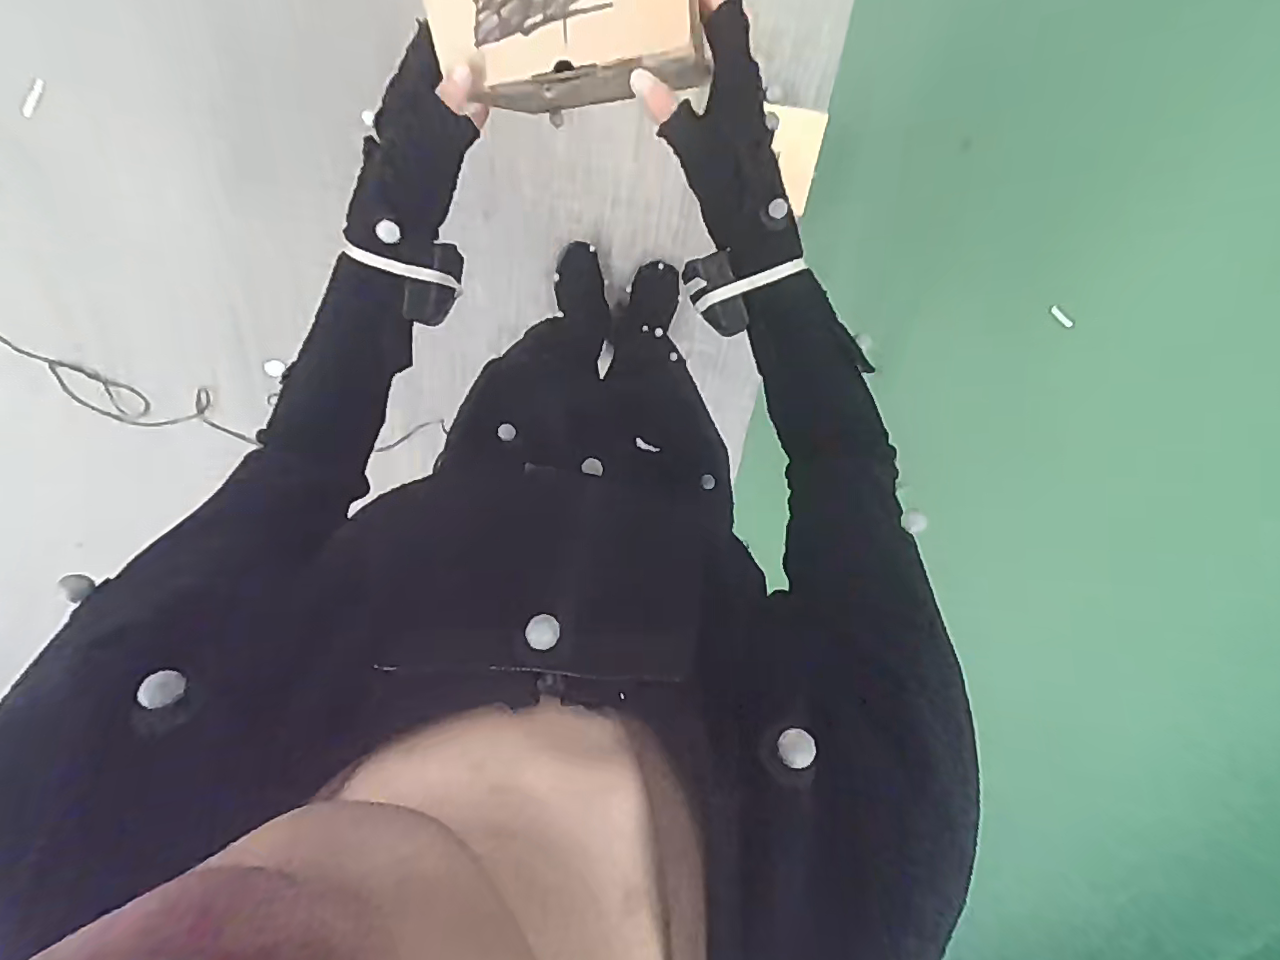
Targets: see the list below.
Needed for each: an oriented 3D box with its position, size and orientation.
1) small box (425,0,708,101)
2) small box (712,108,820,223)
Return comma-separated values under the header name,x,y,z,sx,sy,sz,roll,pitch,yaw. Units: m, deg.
name,x,y,z,sx,sy,sz,roll,pitch,yaw
small box,-0.043,-0.374,0.365,0.168,0.176,0.179,-1,118,11
small box,0.250,-0.644,1.124,0.168,0.176,0.179,8,116,-3
